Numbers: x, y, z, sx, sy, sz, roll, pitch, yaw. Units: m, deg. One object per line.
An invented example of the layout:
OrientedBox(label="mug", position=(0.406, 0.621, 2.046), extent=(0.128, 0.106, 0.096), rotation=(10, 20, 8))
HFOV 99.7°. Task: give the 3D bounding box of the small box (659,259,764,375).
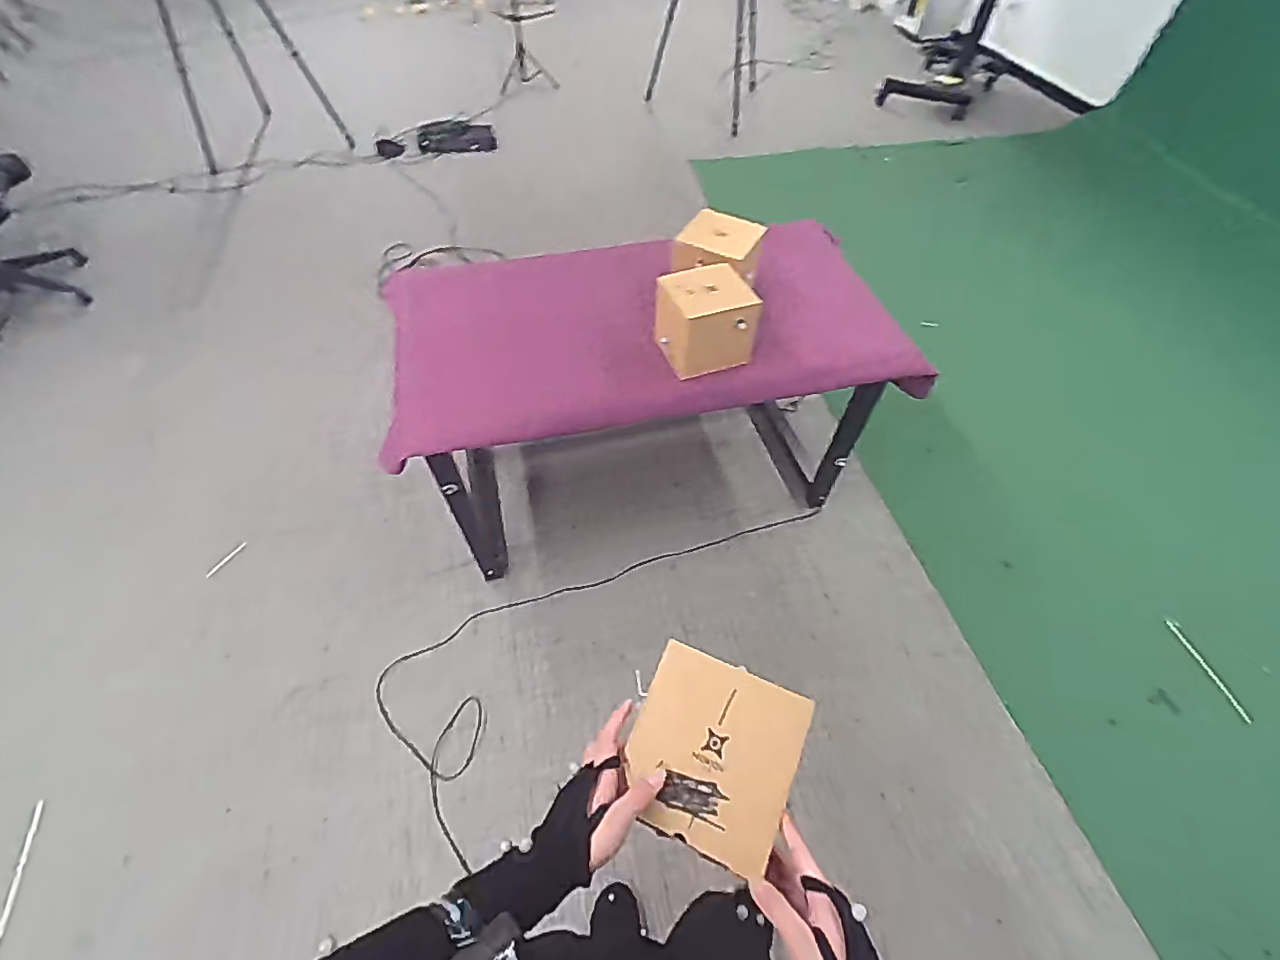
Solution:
OrientedBox(label="small box", position=(0.151, -0.365, 1.218), extent=(0.179, 0.176, 0.168), rotation=(-17, 55, -12))

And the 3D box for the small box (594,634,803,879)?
OrientedBox(label="small box", position=(0.069, 0.301, 0.616), extent=(0.168, 0.176, 0.179), rotation=(20, 69, 14))

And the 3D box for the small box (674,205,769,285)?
OrientedBox(label="small box", position=(0.198, -0.550, 1.354), extent=(0.179, 0.176, 0.168), rotation=(24, 59, 17))
